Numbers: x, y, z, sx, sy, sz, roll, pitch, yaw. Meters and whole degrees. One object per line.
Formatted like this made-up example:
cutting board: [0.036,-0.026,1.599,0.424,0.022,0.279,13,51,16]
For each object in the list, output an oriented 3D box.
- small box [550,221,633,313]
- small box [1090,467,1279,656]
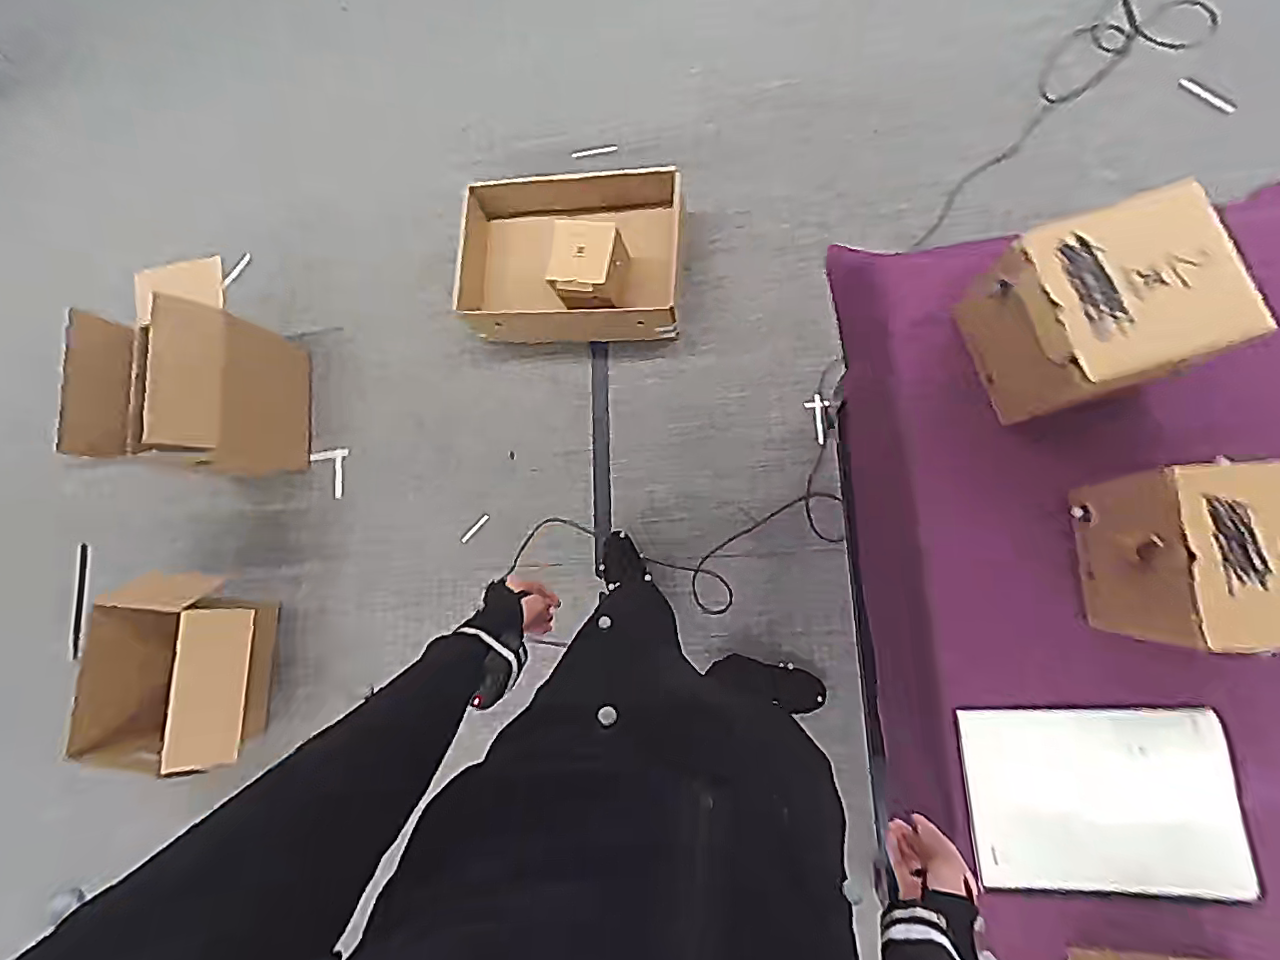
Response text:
small box: [-0.127,-0.576,1.482,0.168,0.176,0.179,10,84,13]
small box: [0.595,0.080,0.541,0.179,0.176,0.168,-3,81,10]
